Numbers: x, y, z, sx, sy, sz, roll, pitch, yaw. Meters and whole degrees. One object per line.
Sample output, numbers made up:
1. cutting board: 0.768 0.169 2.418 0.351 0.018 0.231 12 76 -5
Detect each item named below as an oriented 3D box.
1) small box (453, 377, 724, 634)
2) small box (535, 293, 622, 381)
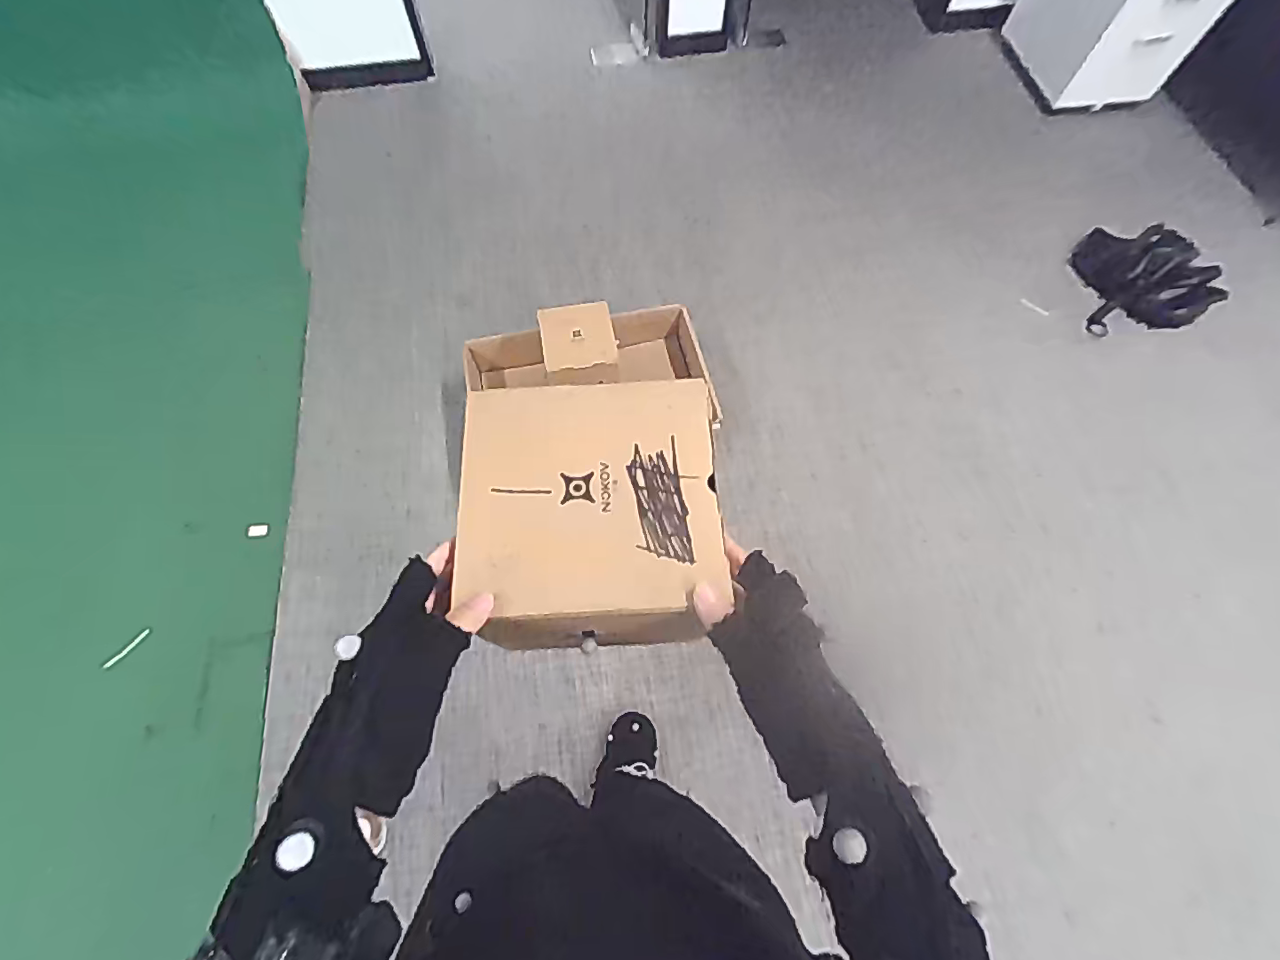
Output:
1. small box: -0.036 0.032 0.447 0.179 0.176 0.168 -3 67 -1
2. small box: -0.140 -0.307 1.285 0.168 0.176 0.179 -14 69 -6
